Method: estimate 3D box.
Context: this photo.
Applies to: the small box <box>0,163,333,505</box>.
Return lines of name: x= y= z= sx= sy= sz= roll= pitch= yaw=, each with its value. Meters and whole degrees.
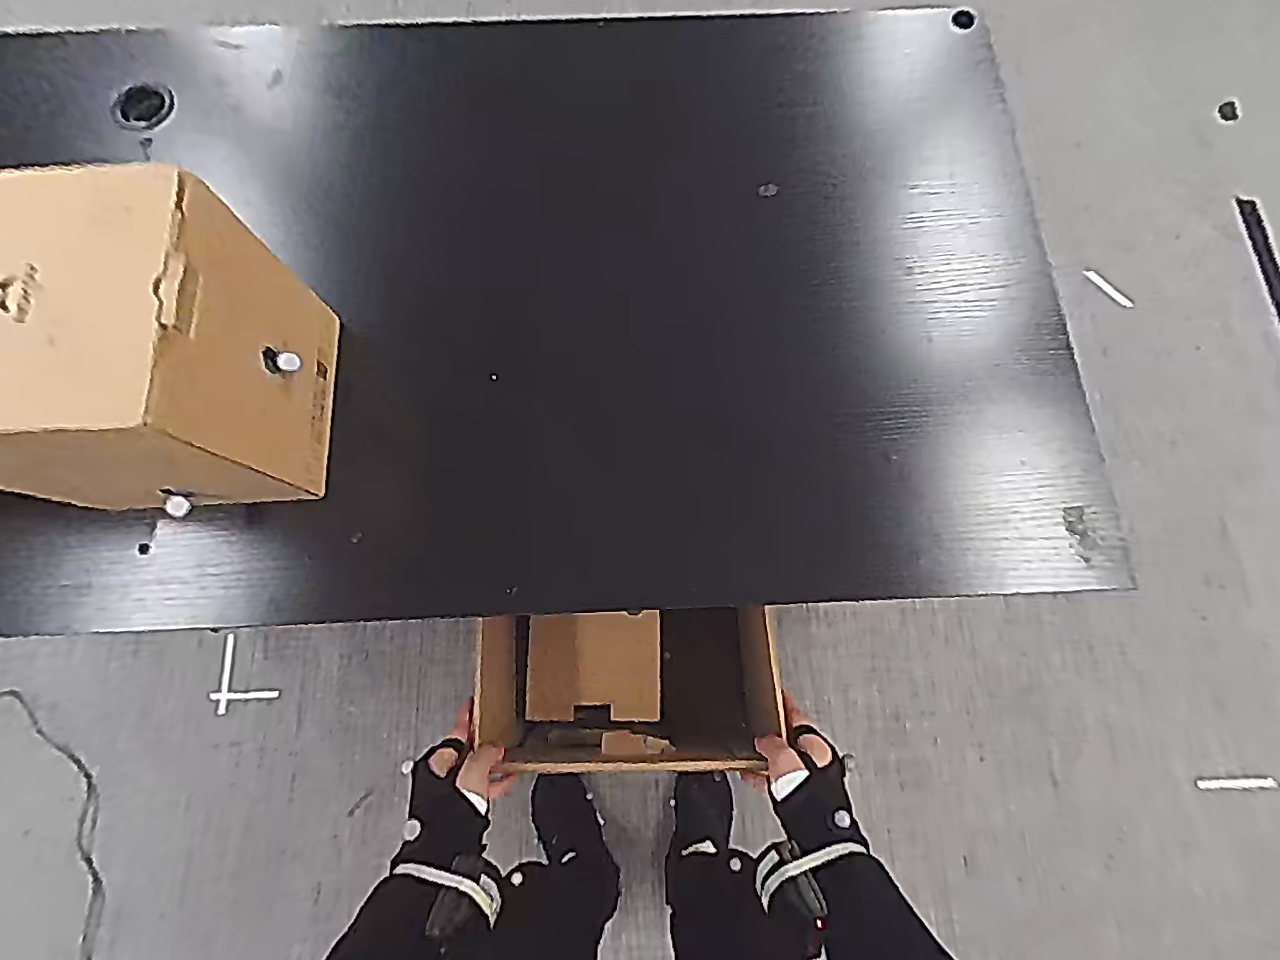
small box: x=-0.341 y=-0.082 z=0.370 sx=0.179 sy=0.176 sz=0.168 roll=-3 pitch=75 yaw=-2
